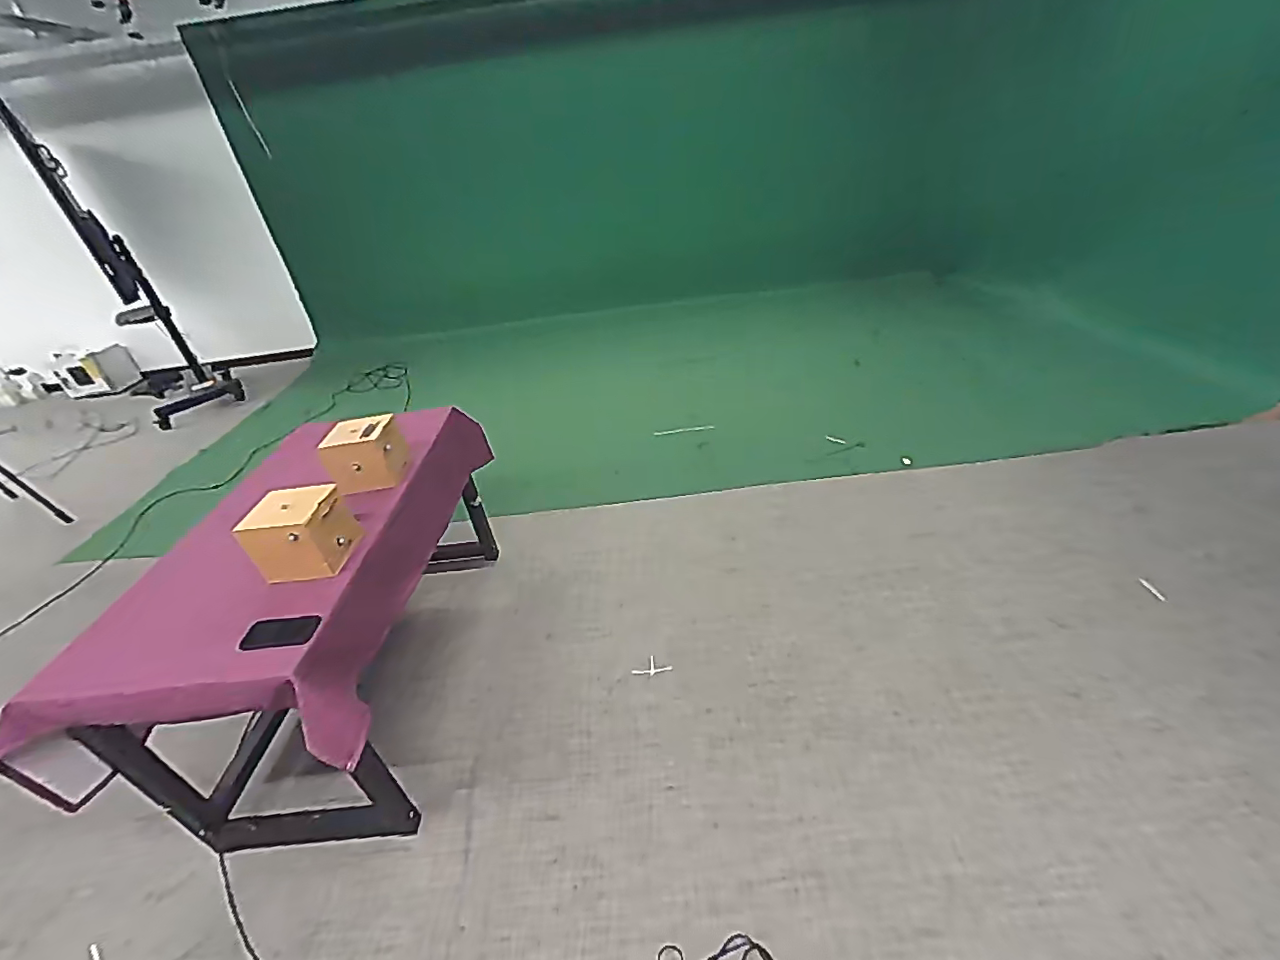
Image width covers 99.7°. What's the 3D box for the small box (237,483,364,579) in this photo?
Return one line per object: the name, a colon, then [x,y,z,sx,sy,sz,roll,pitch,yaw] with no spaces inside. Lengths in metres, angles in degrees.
small box: [-0.822,0.128,1.328,0.179,0.176,0.168,-6,33,3]
